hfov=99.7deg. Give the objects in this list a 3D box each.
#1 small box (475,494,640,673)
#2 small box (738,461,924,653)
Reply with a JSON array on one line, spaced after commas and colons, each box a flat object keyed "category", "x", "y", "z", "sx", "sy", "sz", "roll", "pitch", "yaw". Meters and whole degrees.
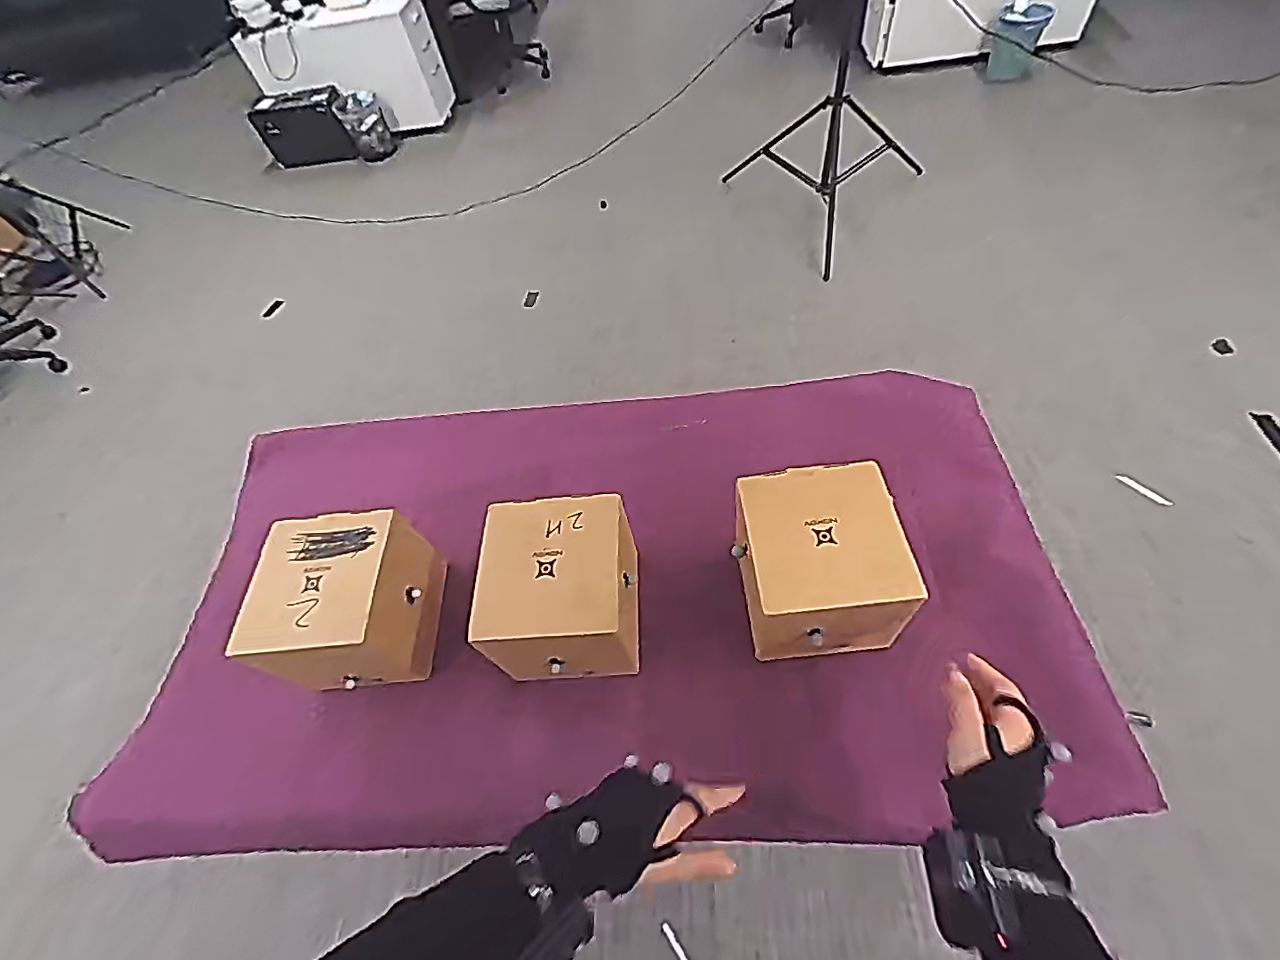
[{"category": "small box", "x": -0.090, "y": 0.139, "z": 0.687, "sx": 0.168, "sy": 0.176, "sz": 0.179, "roll": -4, "pitch": 55, "yaw": 5}, {"category": "small box", "x": 0.217, "y": 0.103, "z": 0.664, "sx": 0.168, "sy": 0.176, "sz": 0.179, "roll": -8, "pitch": 54, "yaw": 5}]
